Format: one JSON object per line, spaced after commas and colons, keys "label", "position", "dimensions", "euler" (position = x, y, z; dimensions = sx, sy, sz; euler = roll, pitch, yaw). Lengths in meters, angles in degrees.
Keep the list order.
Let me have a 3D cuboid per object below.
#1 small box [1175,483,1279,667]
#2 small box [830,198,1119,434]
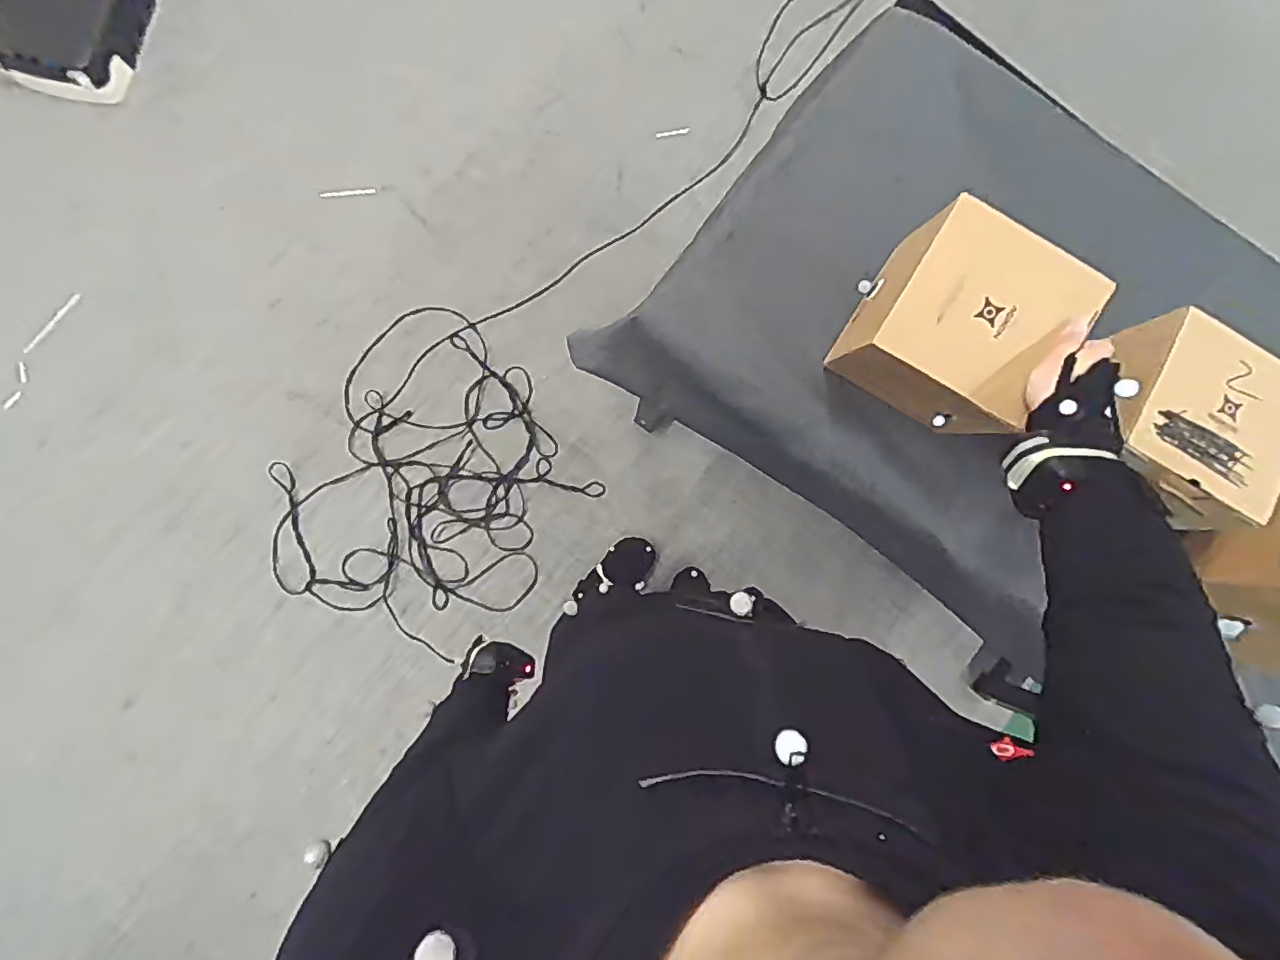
{"label": "small box", "position": [0.793, 0.111, 0.621], "dimensions": [0.168, 0.176, 0.179], "euler": [44, 83, 1]}
{"label": "small box", "position": [0.346, -0.164, 0.599], "dimensions": [0.179, 0.176, 0.168], "euler": [30, 94, 1]}
